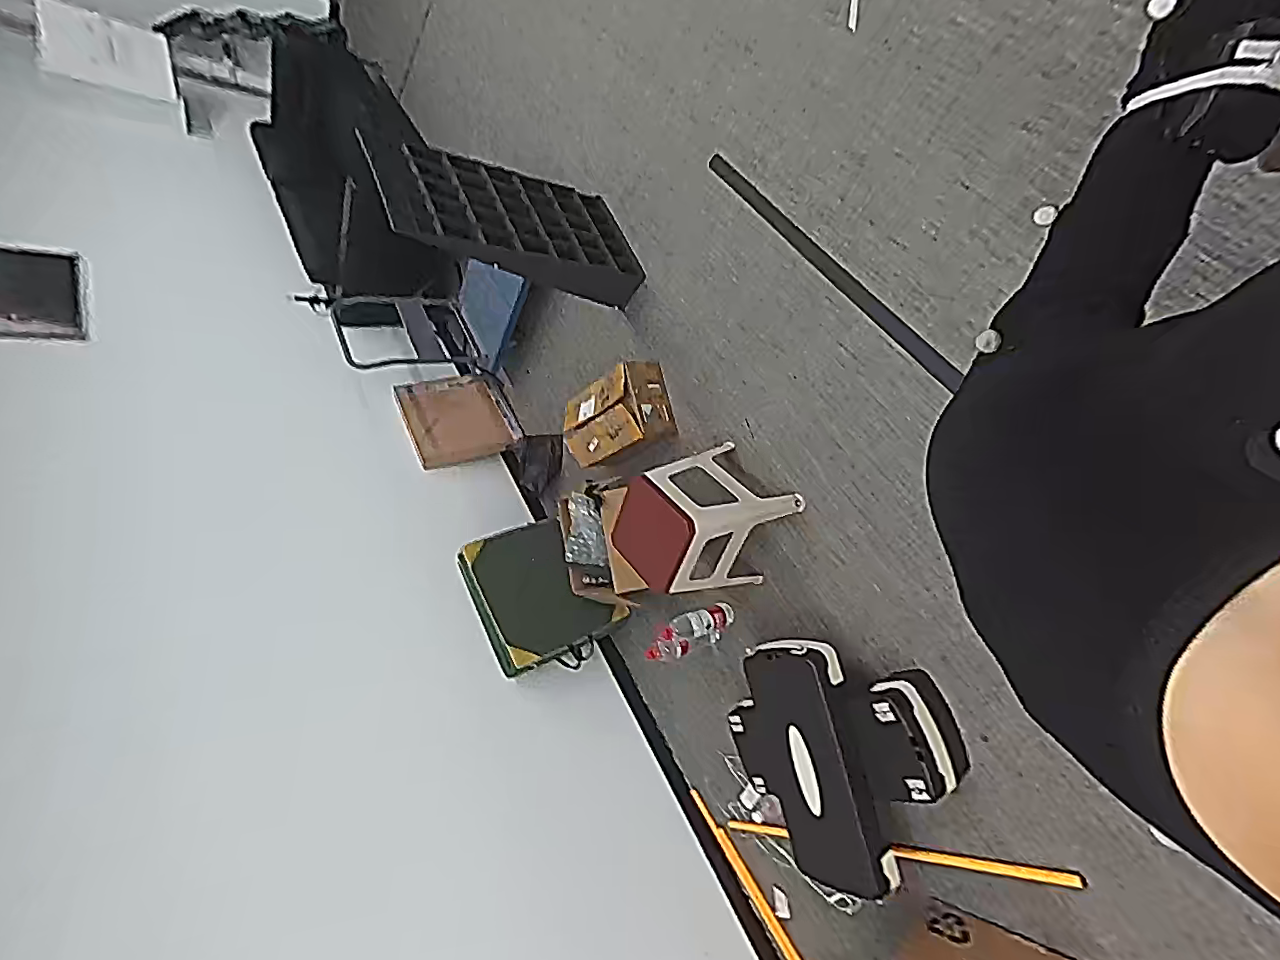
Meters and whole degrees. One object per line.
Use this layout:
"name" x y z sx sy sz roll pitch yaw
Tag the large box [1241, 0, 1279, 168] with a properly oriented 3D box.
"large box" 0.662 -0.367 0.274 0.408 0.320 0.320 29 123 43
